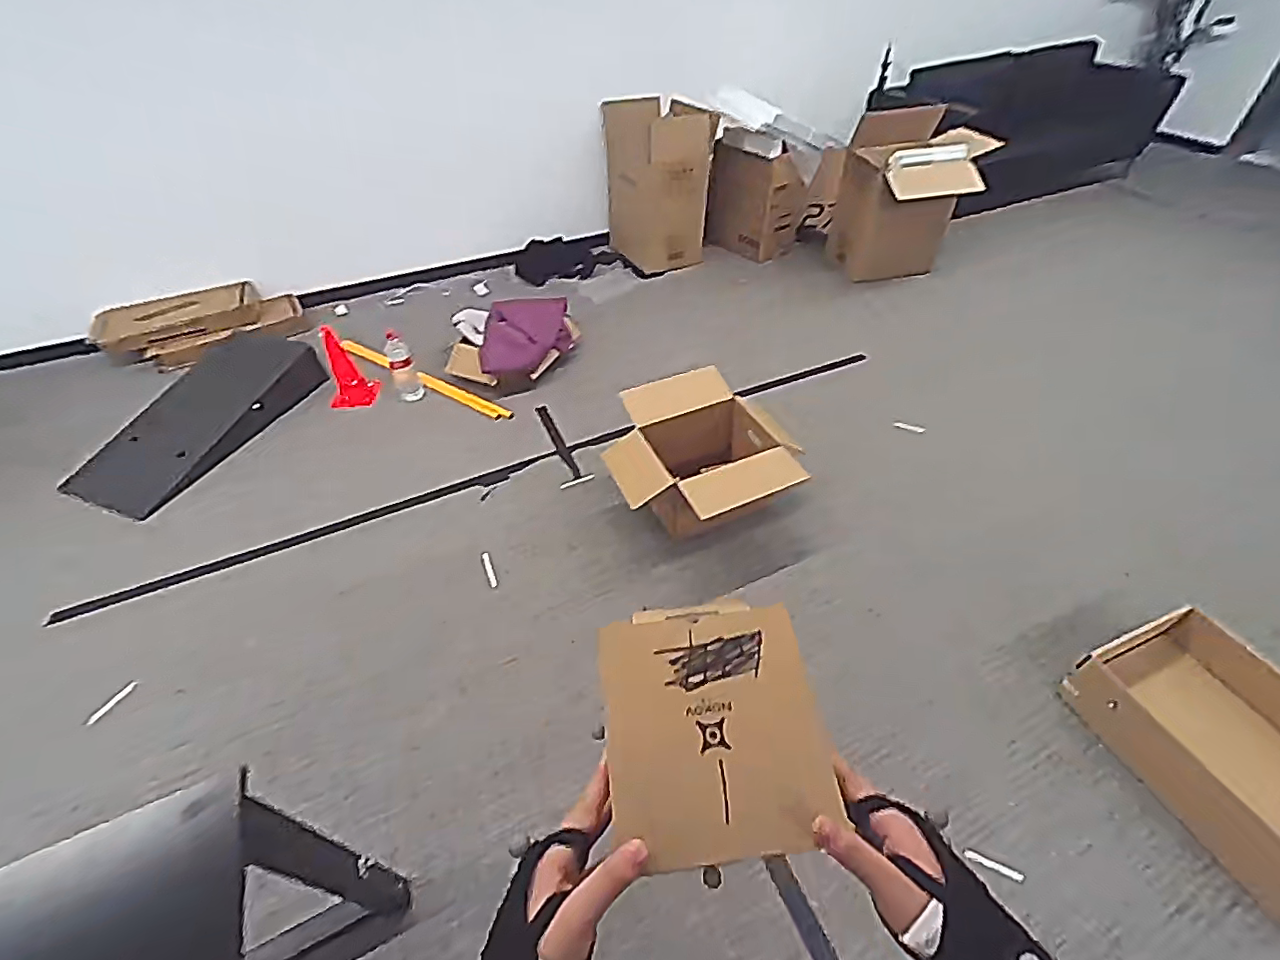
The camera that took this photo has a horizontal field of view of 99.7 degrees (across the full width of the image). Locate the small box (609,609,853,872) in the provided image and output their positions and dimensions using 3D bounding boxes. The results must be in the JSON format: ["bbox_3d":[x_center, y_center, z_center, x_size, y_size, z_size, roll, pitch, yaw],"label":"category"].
[{"bbox_3d":[0.060,0.237,0.488,0.168,0.176,0.179,-5,54,-4],"label":"small box"}]
